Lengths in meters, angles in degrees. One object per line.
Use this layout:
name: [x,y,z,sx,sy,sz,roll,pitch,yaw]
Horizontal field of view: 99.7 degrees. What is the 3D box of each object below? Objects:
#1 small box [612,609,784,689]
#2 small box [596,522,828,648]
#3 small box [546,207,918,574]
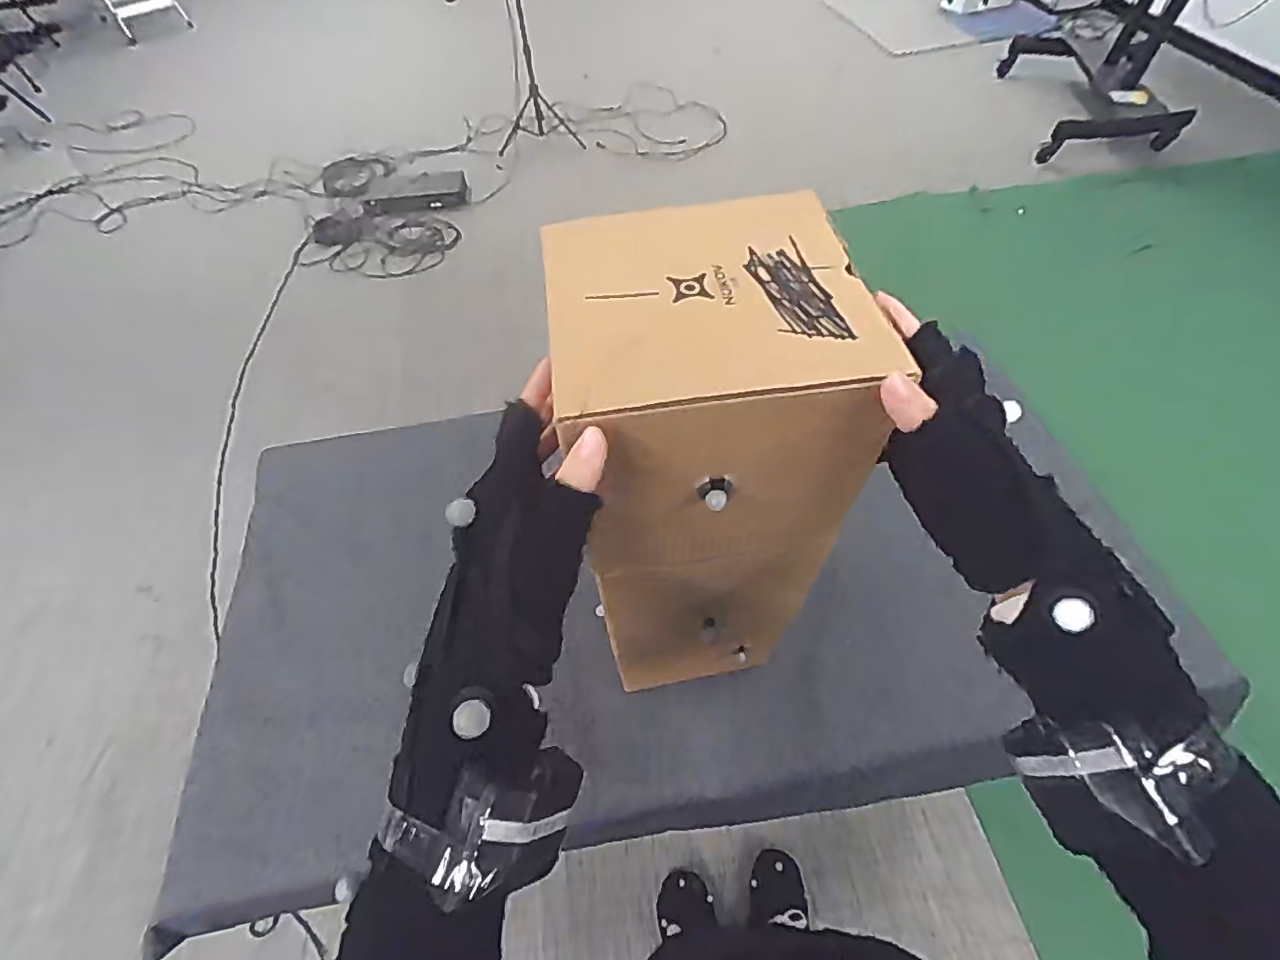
small box: [0.048,0.131,0.639,0.179,0.176,0.168,-12,55,-4]
small box: [0.044,0.041,0.503,0.179,0.176,0.168,-8,55,-4]
small box: [0.040,-0.054,0.368,0.179,0.176,0.168,-9,56,-6]
